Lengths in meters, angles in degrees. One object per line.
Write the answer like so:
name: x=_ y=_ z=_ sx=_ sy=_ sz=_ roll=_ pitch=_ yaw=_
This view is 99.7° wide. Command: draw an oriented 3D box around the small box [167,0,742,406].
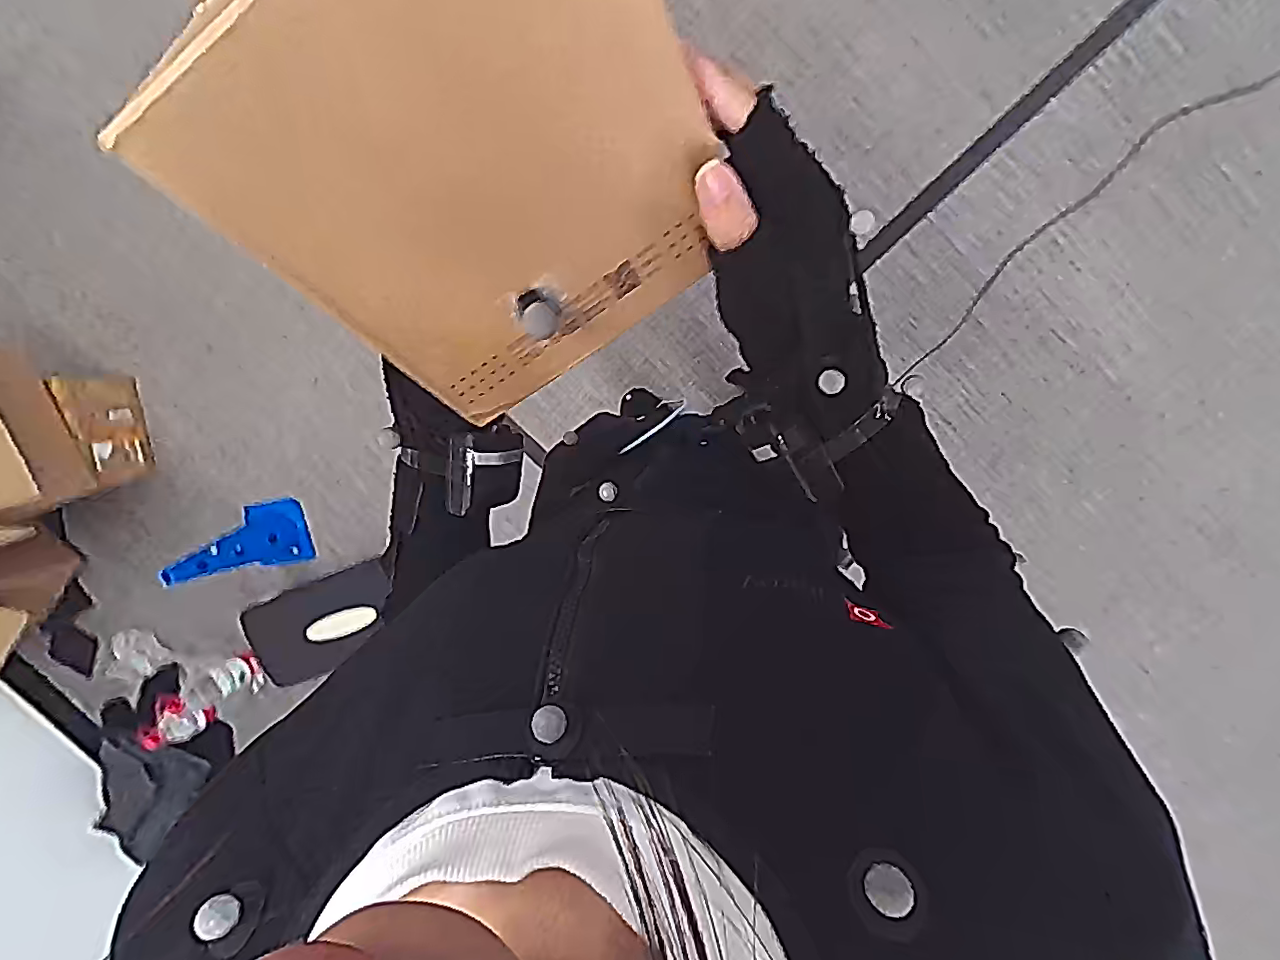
small box: x=-0.073 y=-0.172 z=0.273 sx=0.168 sy=0.176 sz=0.179 roll=-31 pitch=52 yaw=13
